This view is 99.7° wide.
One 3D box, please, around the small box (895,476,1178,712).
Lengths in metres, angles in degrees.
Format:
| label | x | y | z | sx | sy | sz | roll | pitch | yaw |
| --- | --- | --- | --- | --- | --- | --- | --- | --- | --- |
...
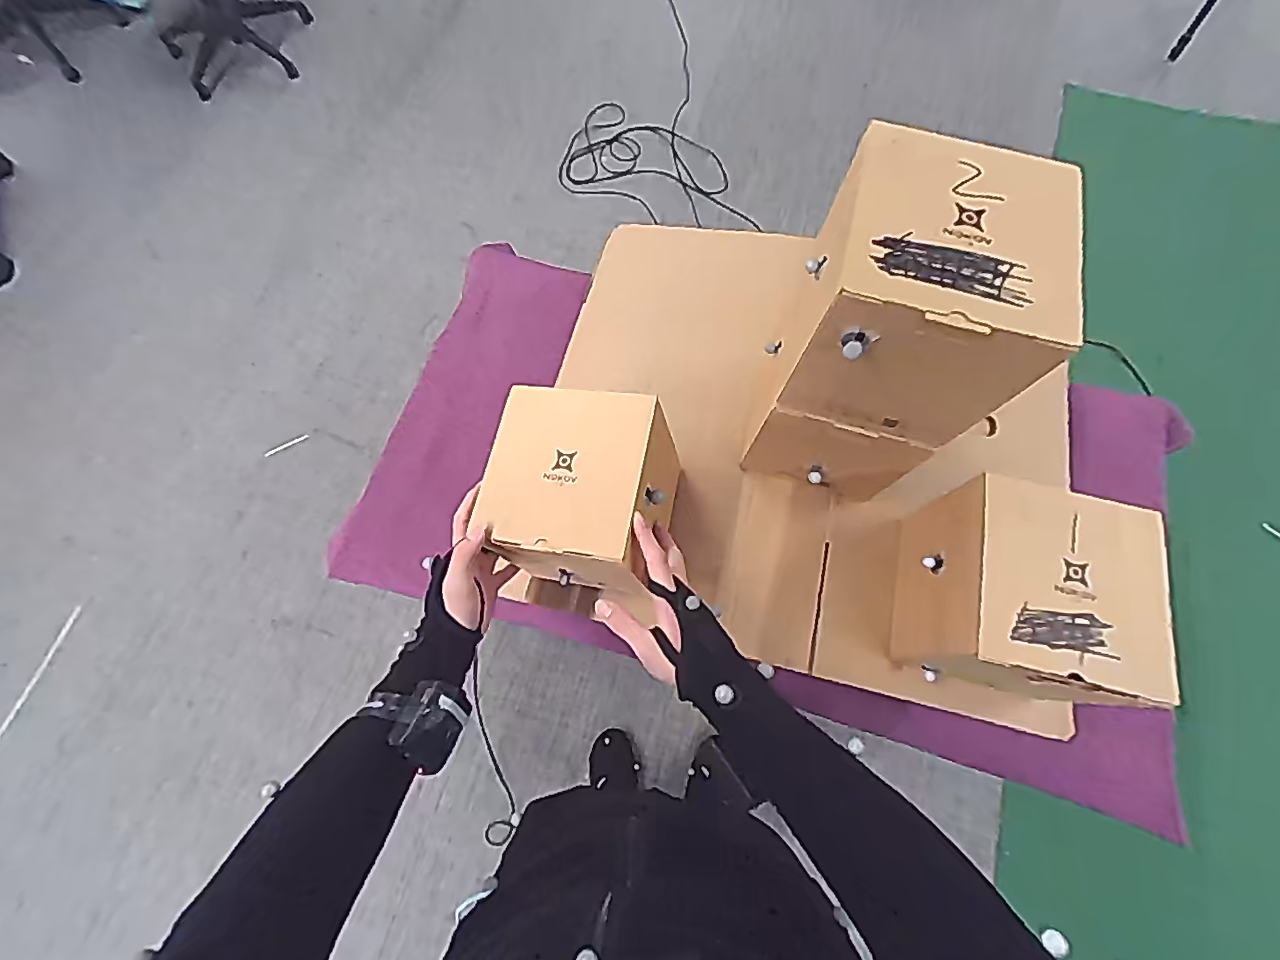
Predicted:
| label | x | y | z | sx | sy | sz | roll | pitch | yaw |
| --- | --- | --- | --- | --- | --- | --- | --- | --- | --- |
| small box | 0.381 | 0.121 | 0.552 | 0.168 | 0.176 | 0.179 | 14 | 70 | 4 |

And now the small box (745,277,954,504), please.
| label | x | y | z | sx | sy | sz | roll | pitch | yaw |
| --- | --- | --- | --- | --- | --- | --- | --- | --- | --- |
| small box | 0.229 | -0.094 | 0.624 | 0.168 | 0.176 | 0.179 | 15 | 71 | 4 |
